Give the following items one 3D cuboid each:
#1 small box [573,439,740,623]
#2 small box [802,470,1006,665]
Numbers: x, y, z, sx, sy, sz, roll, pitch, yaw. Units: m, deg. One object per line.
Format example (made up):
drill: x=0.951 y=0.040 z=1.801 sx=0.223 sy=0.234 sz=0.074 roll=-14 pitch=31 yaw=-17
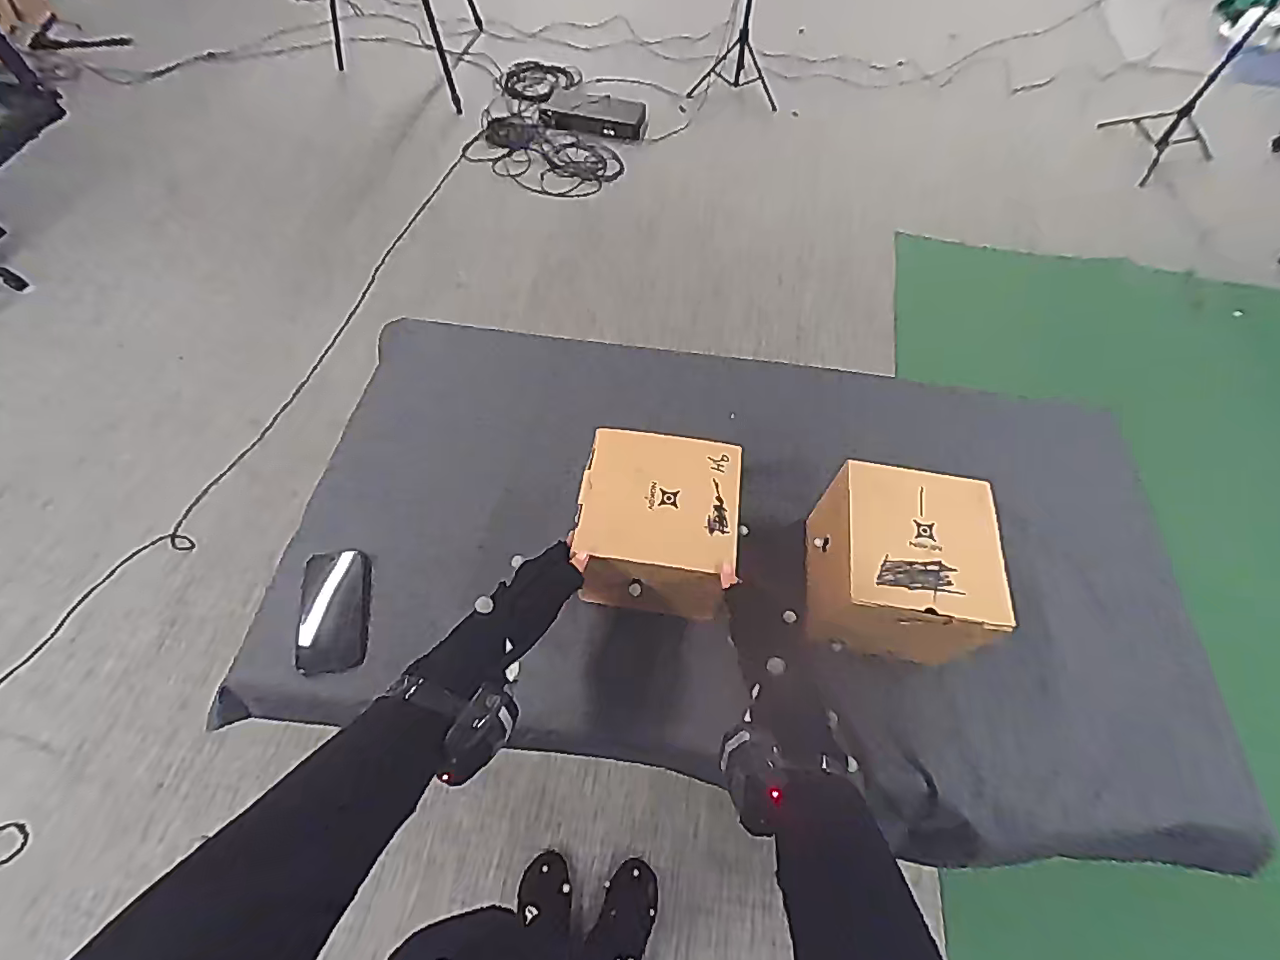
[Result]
small box: x=0.023 y=0.070 z=0.679 sx=0.179 sy=0.176 sz=0.168 roll=7 pitch=59 yaw=3
small box: x=0.305 y=0.114 z=0.665 sx=0.168 sy=0.176 sz=0.179 roll=10 pitch=59 yaw=3
